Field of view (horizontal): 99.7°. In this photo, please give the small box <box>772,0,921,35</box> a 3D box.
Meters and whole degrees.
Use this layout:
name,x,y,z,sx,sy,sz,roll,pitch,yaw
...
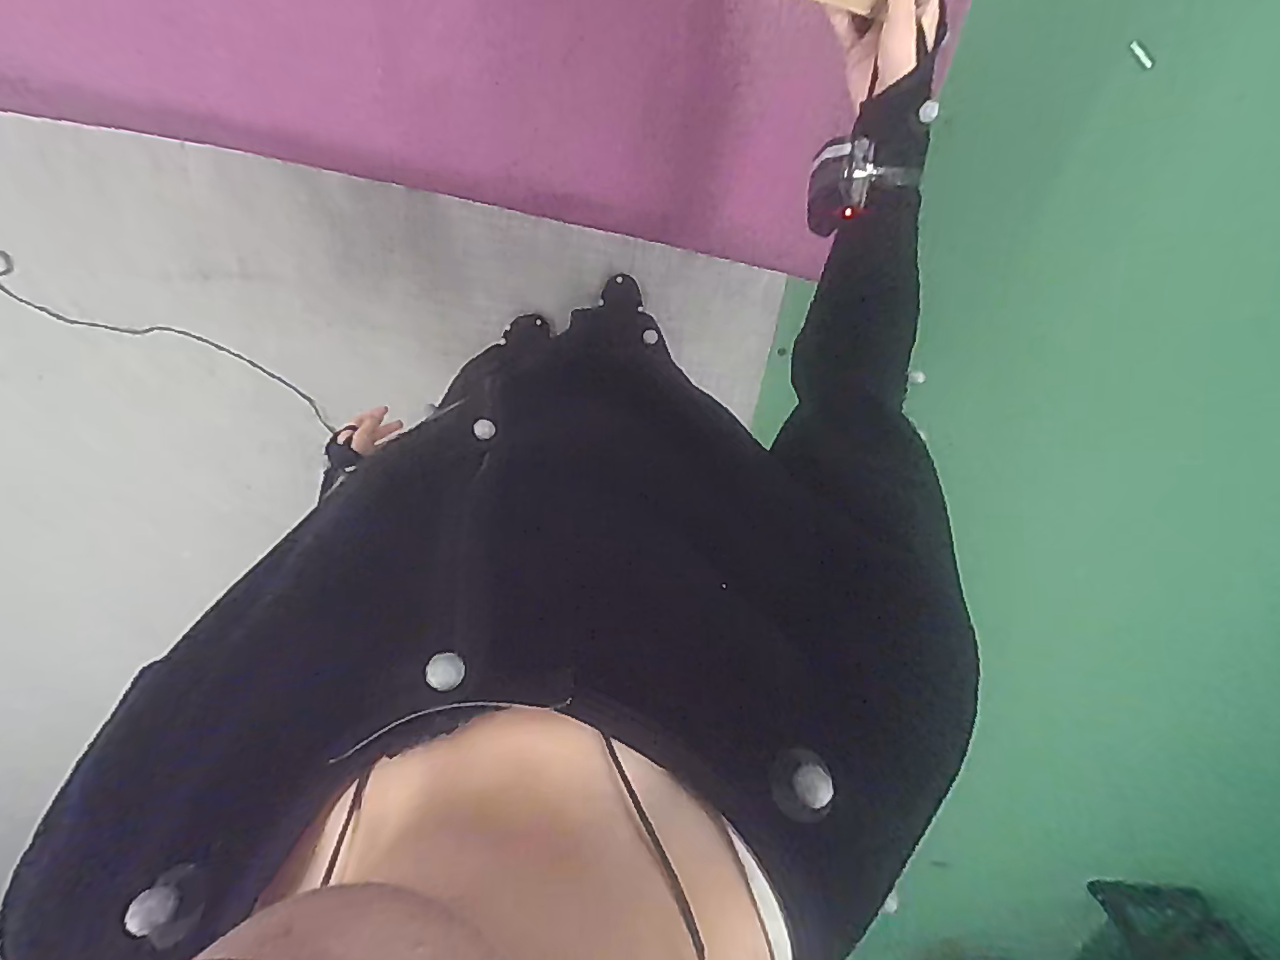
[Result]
name,x,y,z,sx,sy,sz,roll,pitch,yaw
small box,0.139,-0.454,0.356,0.168,0.176,0.179,-13,160,-28
